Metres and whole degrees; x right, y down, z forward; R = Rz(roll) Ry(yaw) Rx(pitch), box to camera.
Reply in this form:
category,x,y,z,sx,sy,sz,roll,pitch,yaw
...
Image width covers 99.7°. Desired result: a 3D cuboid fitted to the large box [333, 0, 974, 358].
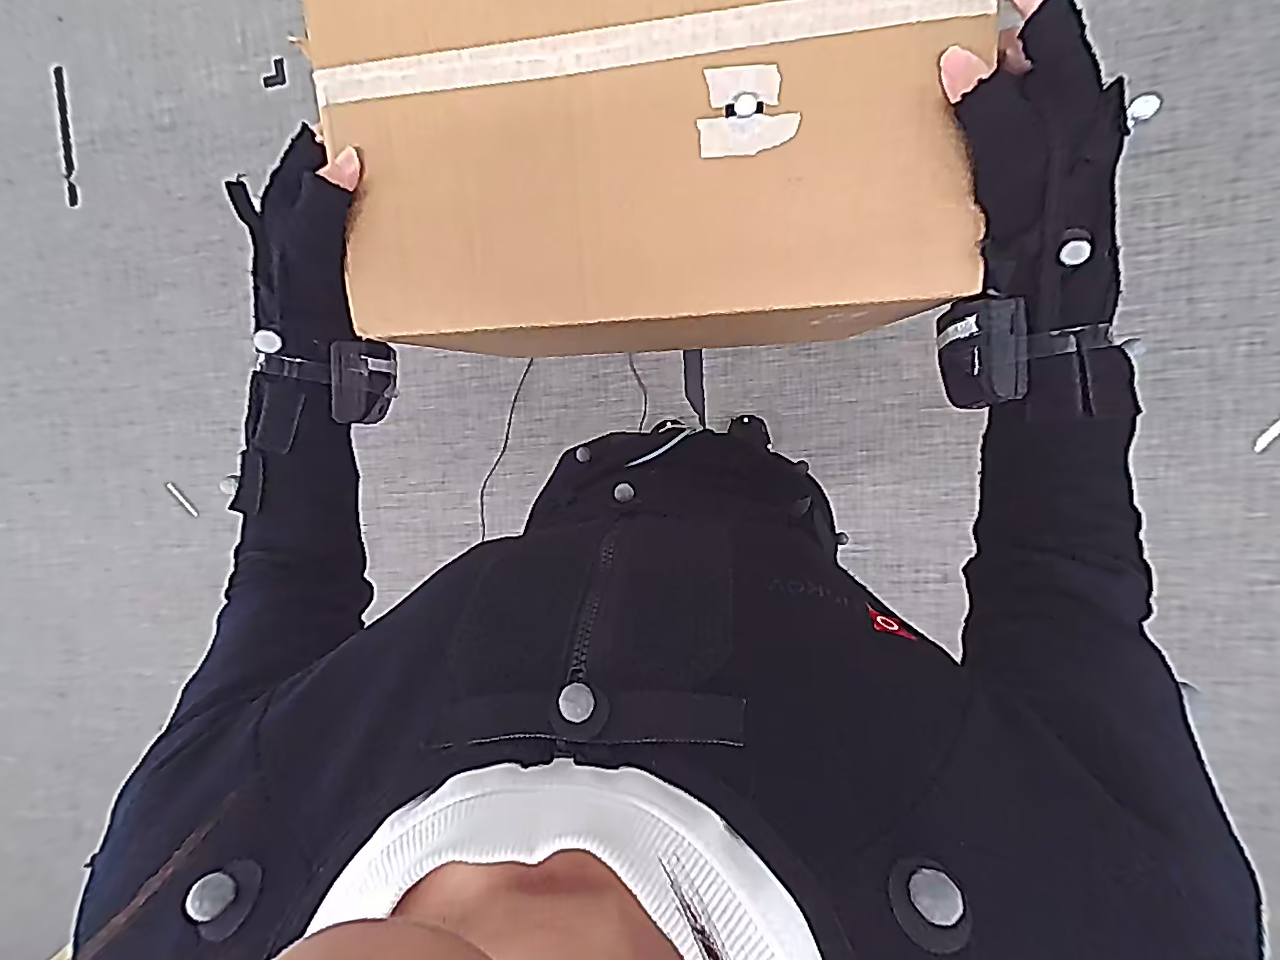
category,x,y,z,sx,sy,sz,roll,pitch,yaw
large box,0.013,-0.289,0.484,0.408,0.320,0.320,-2,100,7
